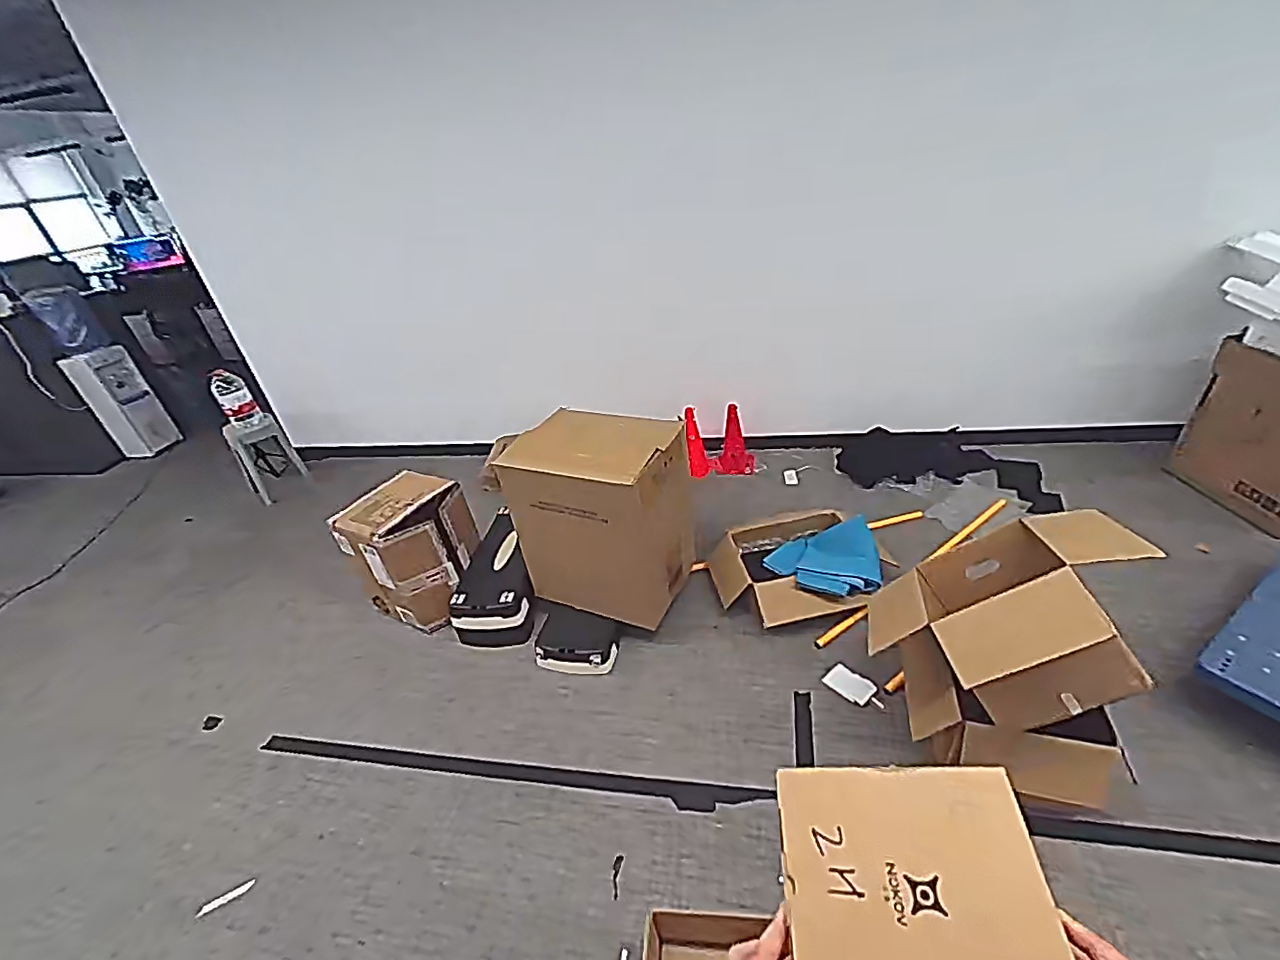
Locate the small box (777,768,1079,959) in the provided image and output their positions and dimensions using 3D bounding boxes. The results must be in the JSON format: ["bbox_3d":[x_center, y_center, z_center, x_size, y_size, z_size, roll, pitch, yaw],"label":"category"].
[{"bbox_3d":[0.209,0.345,0.424,0.179,0.176,0.168,-8,41,15],"label":"small box"}]
